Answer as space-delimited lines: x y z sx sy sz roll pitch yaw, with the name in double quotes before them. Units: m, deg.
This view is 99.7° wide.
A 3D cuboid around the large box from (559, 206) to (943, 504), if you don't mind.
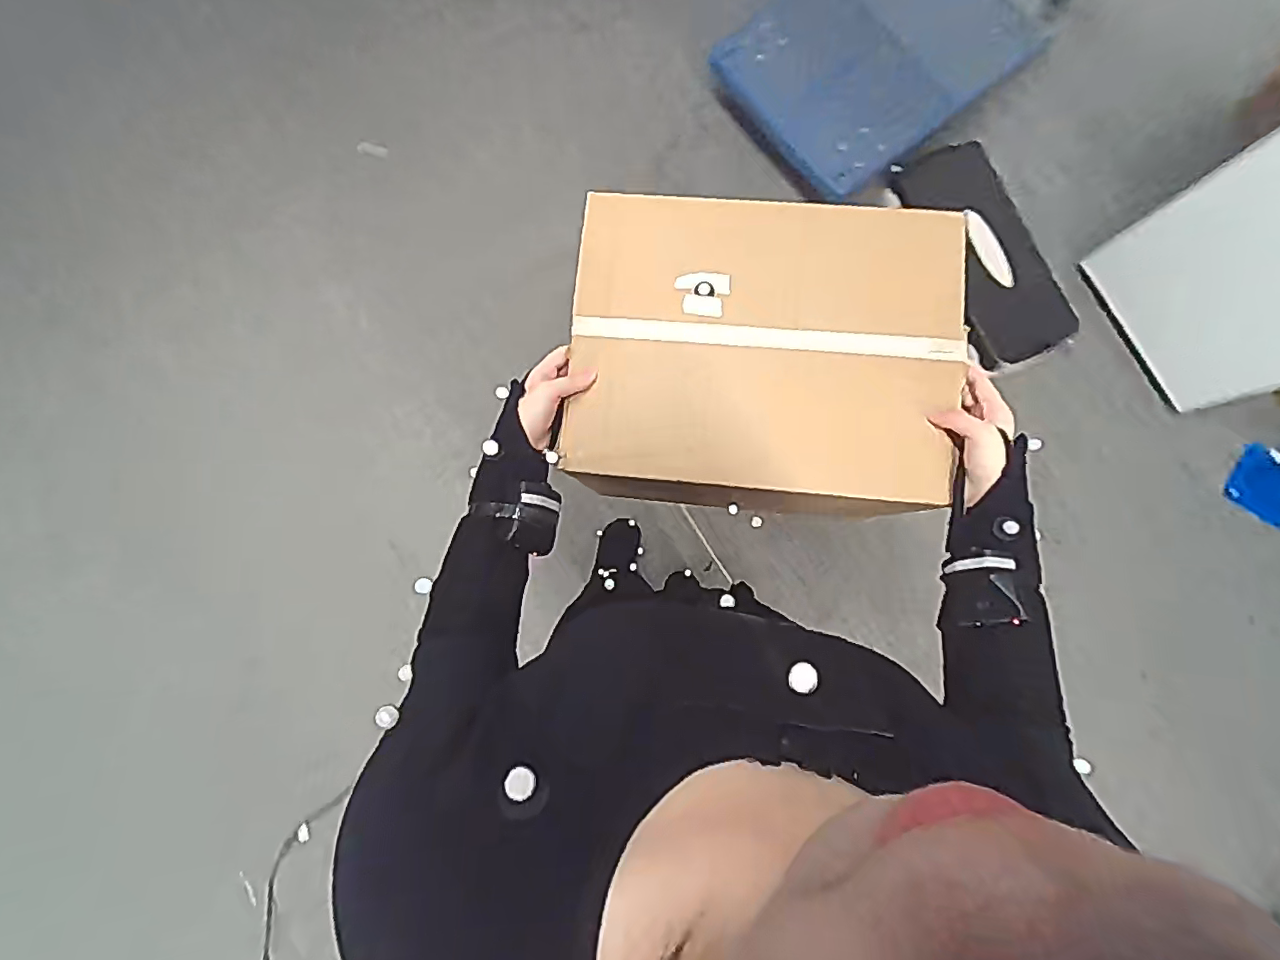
"large box" 0.131 -0.134 0.726 0.408 0.320 0.320 3 84 5
